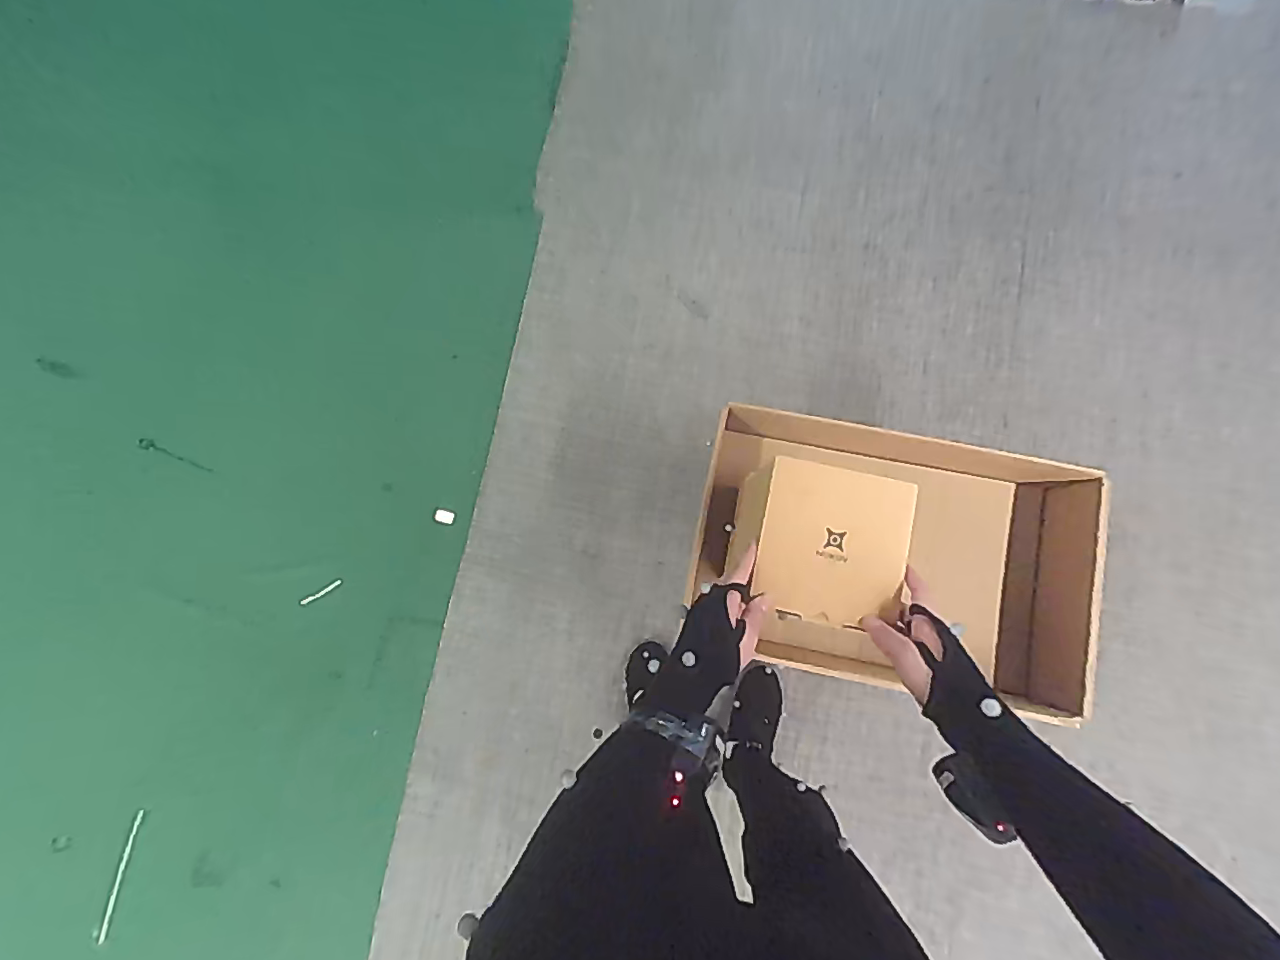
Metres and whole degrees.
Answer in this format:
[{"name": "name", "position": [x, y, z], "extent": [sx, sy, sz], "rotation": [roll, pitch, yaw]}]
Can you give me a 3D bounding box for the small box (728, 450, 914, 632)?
[{"name": "small box", "position": [0.215, 0.077, 0.683], "extent": [0.168, 0.176, 0.179], "rotation": [12, 83, 2]}]
